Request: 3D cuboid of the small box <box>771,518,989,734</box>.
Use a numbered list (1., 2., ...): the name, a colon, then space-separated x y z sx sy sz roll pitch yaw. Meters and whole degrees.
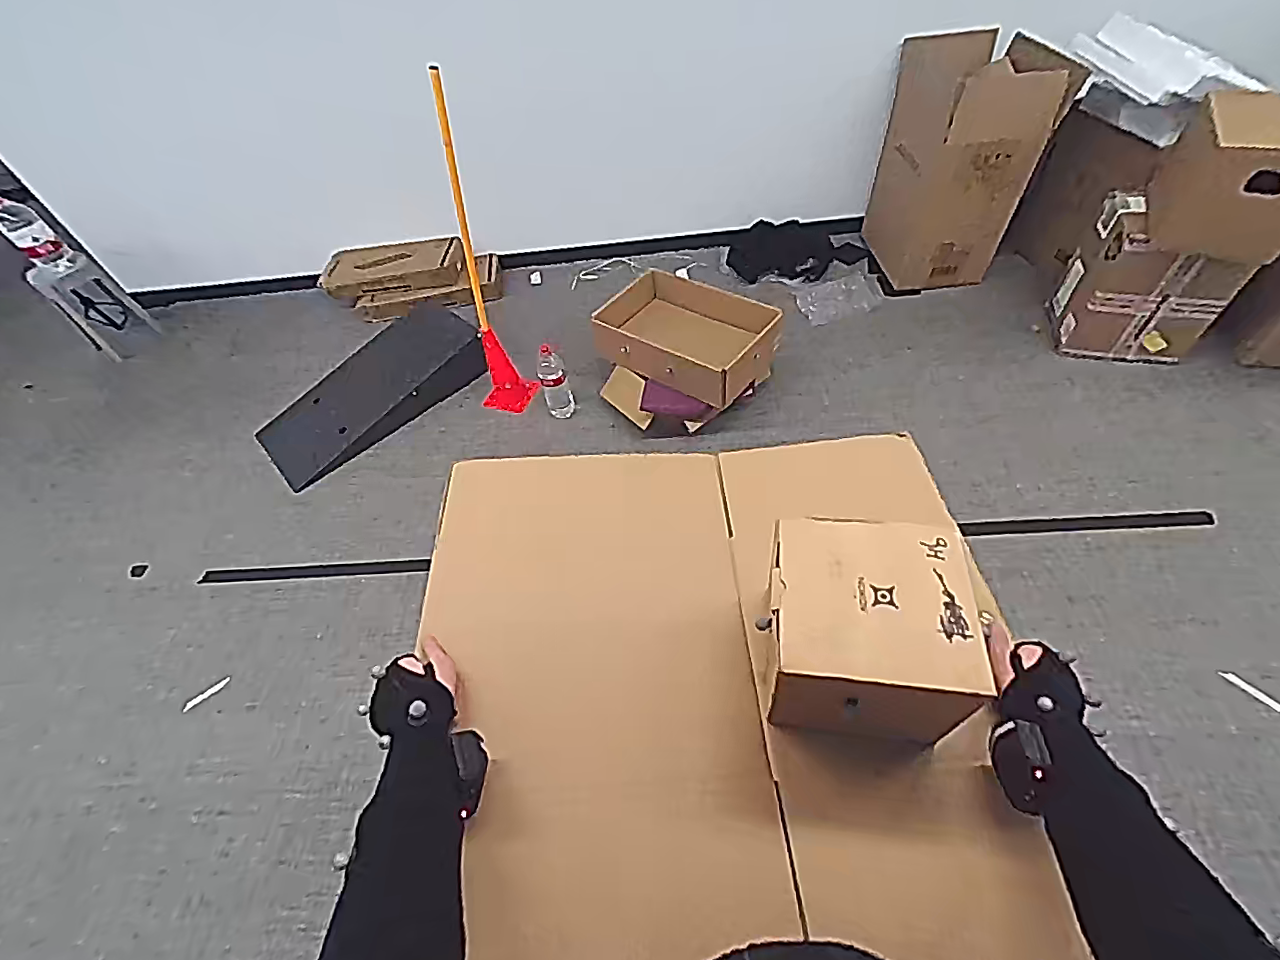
1. small box: 0.232 0.157 0.575 0.179 0.176 0.168 2 53 12
